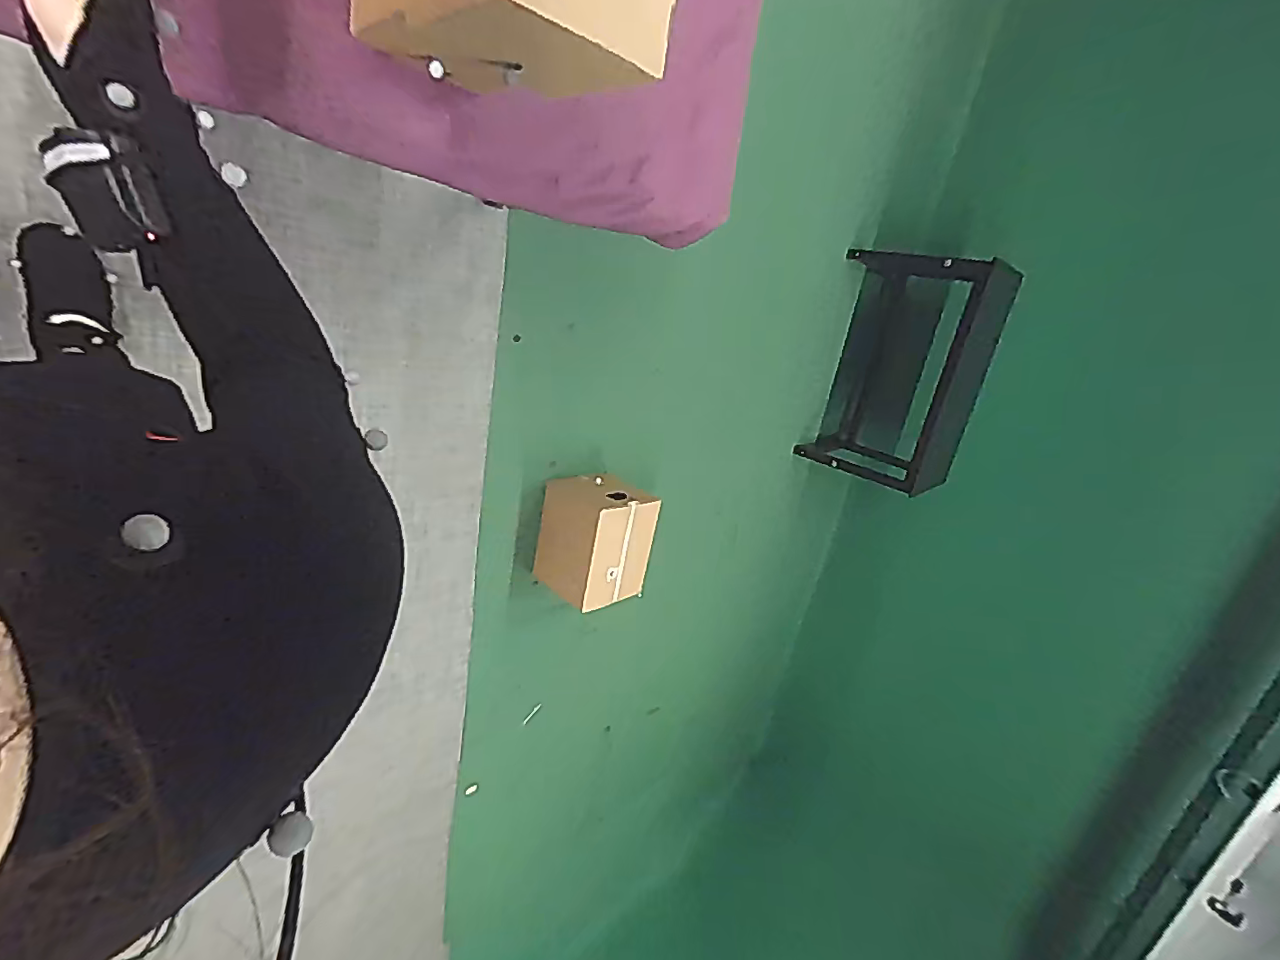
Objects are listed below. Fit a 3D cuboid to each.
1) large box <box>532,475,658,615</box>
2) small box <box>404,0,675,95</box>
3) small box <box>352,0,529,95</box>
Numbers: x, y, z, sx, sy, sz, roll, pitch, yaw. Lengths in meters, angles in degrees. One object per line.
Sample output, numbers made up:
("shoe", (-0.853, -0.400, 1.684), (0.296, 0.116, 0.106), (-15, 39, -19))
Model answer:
("large box", (-0.178, 0.228, 2.053), (0.320, 0.320, 0.408), (-7, 115, -46))
("small box", (-0.081, -0.460, 0.470), (0.179, 0.176, 0.168), (-12, 118, -45))
("small box", (-0.187, -0.543, 0.569), (0.168, 0.176, 0.179), (-7, 115, -46))
